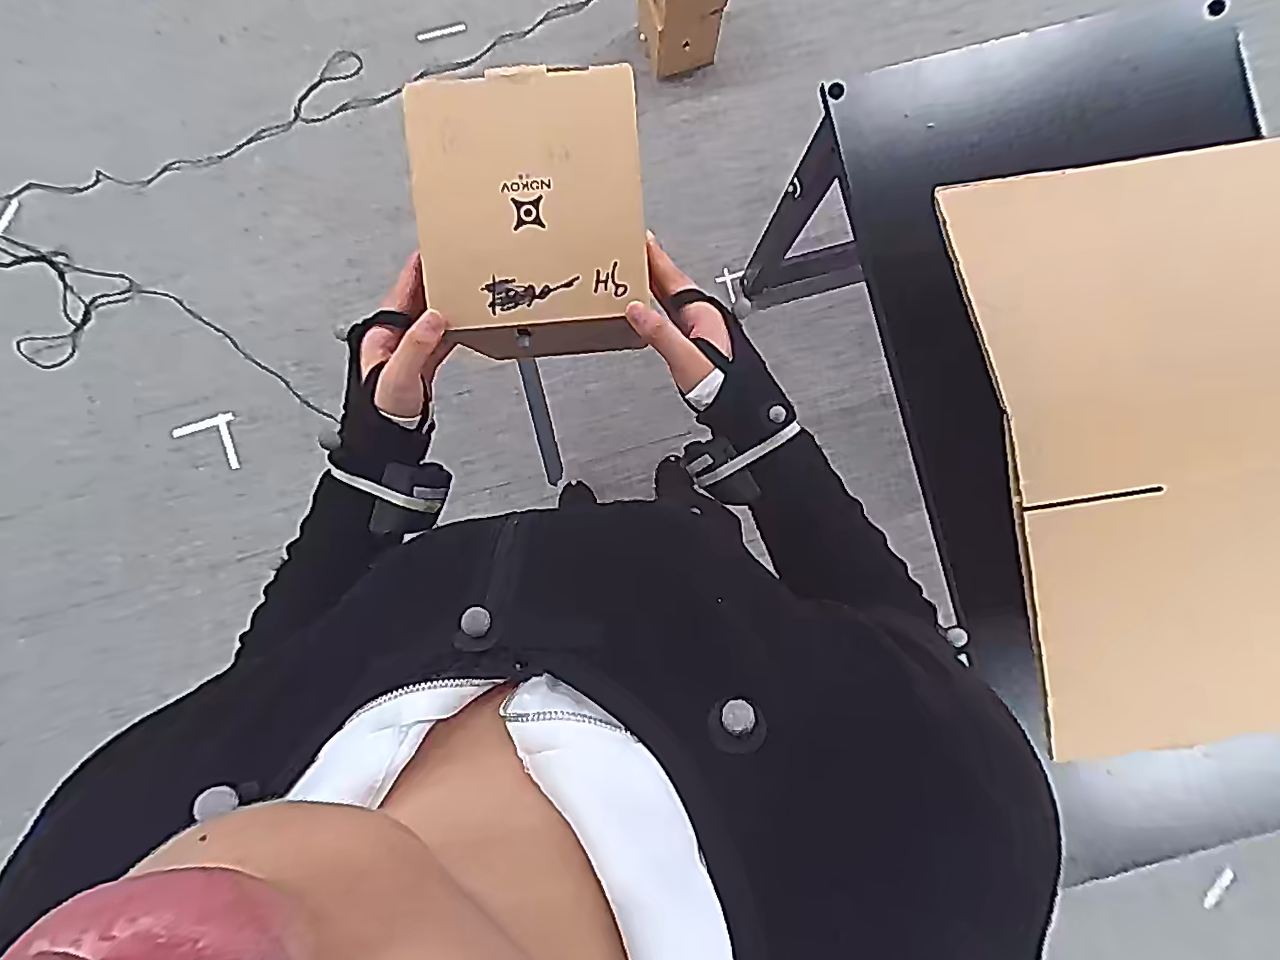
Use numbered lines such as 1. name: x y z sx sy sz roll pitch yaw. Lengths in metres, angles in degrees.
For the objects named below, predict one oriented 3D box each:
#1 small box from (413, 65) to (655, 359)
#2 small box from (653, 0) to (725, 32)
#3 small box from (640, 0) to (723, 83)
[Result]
1. small box: -0.076 -0.210 0.471 0.168 0.176 0.179 -4 95 1
2. small box: 0.111 -1.220 1.278 0.179 0.176 0.168 -22 90 -2
3. small box: 0.104 -1.215 1.441 0.179 0.176 0.168 -18 89 0
